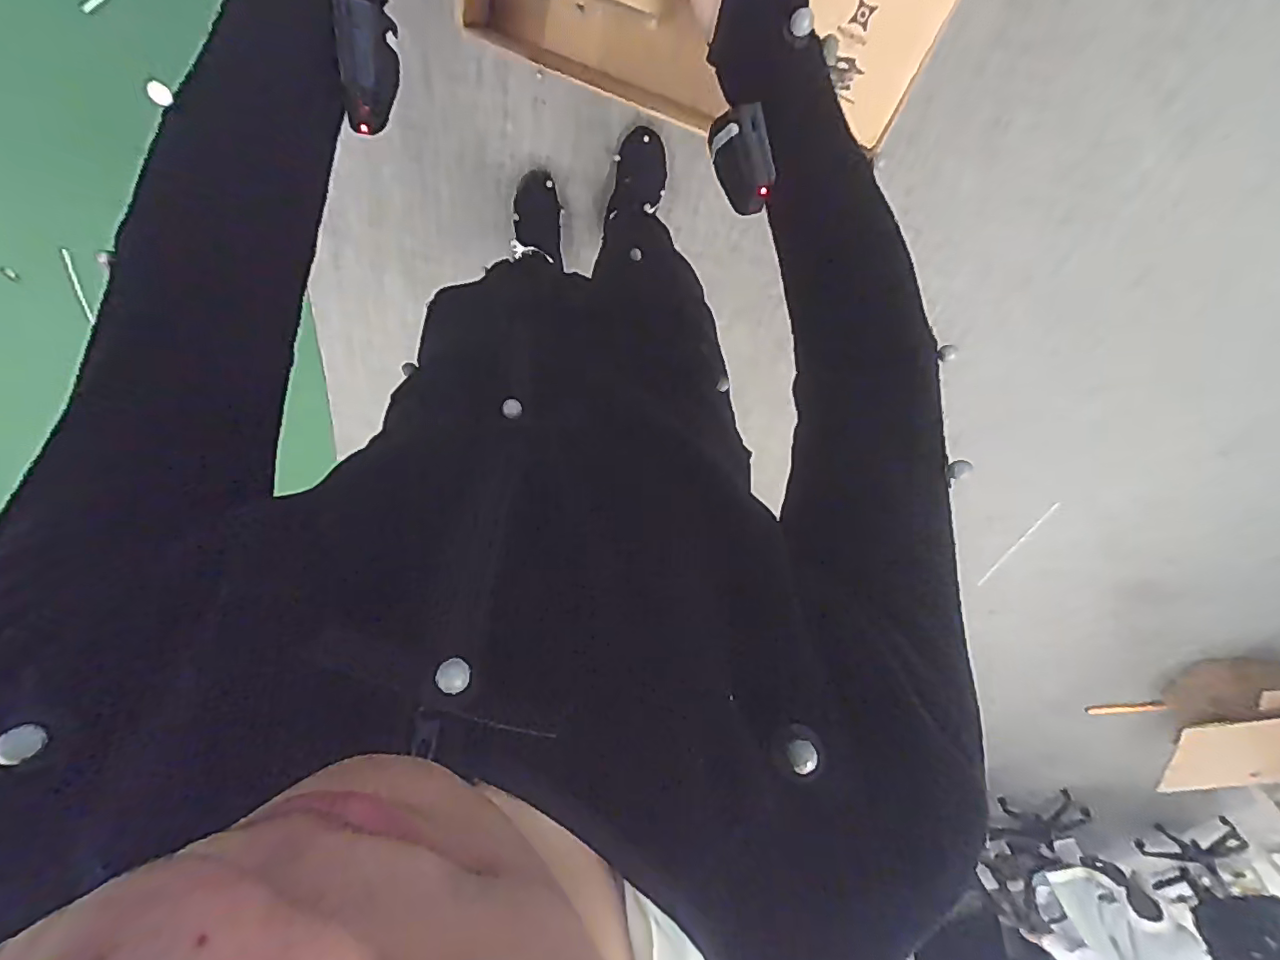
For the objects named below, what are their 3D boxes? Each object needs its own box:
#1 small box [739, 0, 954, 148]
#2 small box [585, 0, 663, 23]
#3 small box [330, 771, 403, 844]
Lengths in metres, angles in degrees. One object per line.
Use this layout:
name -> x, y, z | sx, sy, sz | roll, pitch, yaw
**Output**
small box -> 0.224, -0.518, 0.619 | 0.168, 0.176, 0.179 | 18, 127, -11
small box -> -0.038, -0.501, 0.428 | 0.168, 0.176, 0.179 | 14, 128, -10
small box -> -0.926, 1.120, 1.849 | 0.168, 0.176, 0.179 | 10, 131, -6
